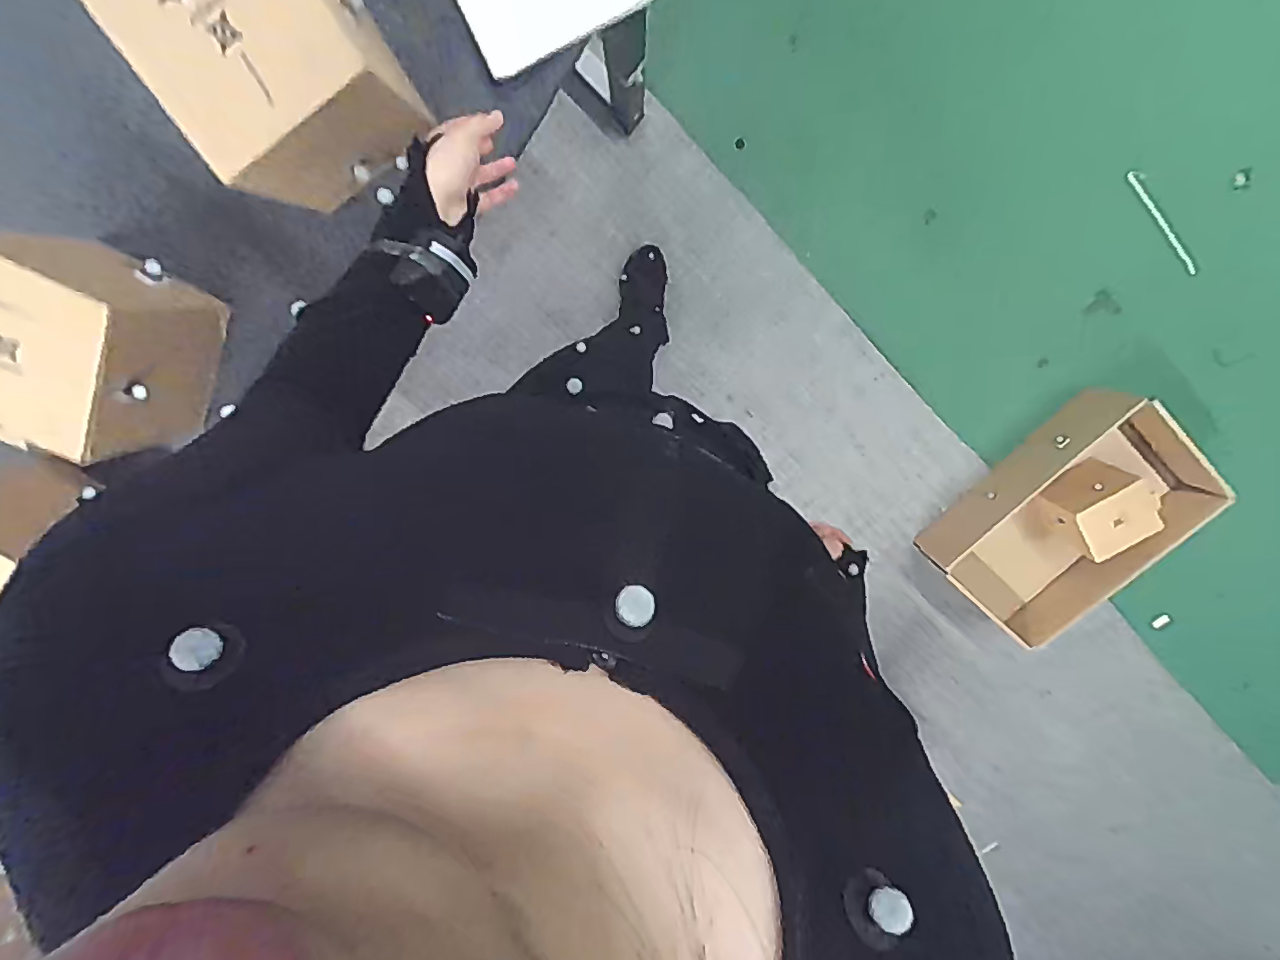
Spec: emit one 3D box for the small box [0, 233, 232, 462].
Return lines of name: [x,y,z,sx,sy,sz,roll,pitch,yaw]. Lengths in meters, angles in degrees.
small box: [-0.603,-0.149,0.601,0.168,0.176,0.179,25,106,-9]

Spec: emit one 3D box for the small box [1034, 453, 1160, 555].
small box: [1.177,0.058,1.411,0.179,0.176,0.168,-34,107,12]

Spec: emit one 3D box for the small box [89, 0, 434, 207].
small box: [-0.334,-0.392,0.513,0.168,0.176,0.179,-30,107,11]
